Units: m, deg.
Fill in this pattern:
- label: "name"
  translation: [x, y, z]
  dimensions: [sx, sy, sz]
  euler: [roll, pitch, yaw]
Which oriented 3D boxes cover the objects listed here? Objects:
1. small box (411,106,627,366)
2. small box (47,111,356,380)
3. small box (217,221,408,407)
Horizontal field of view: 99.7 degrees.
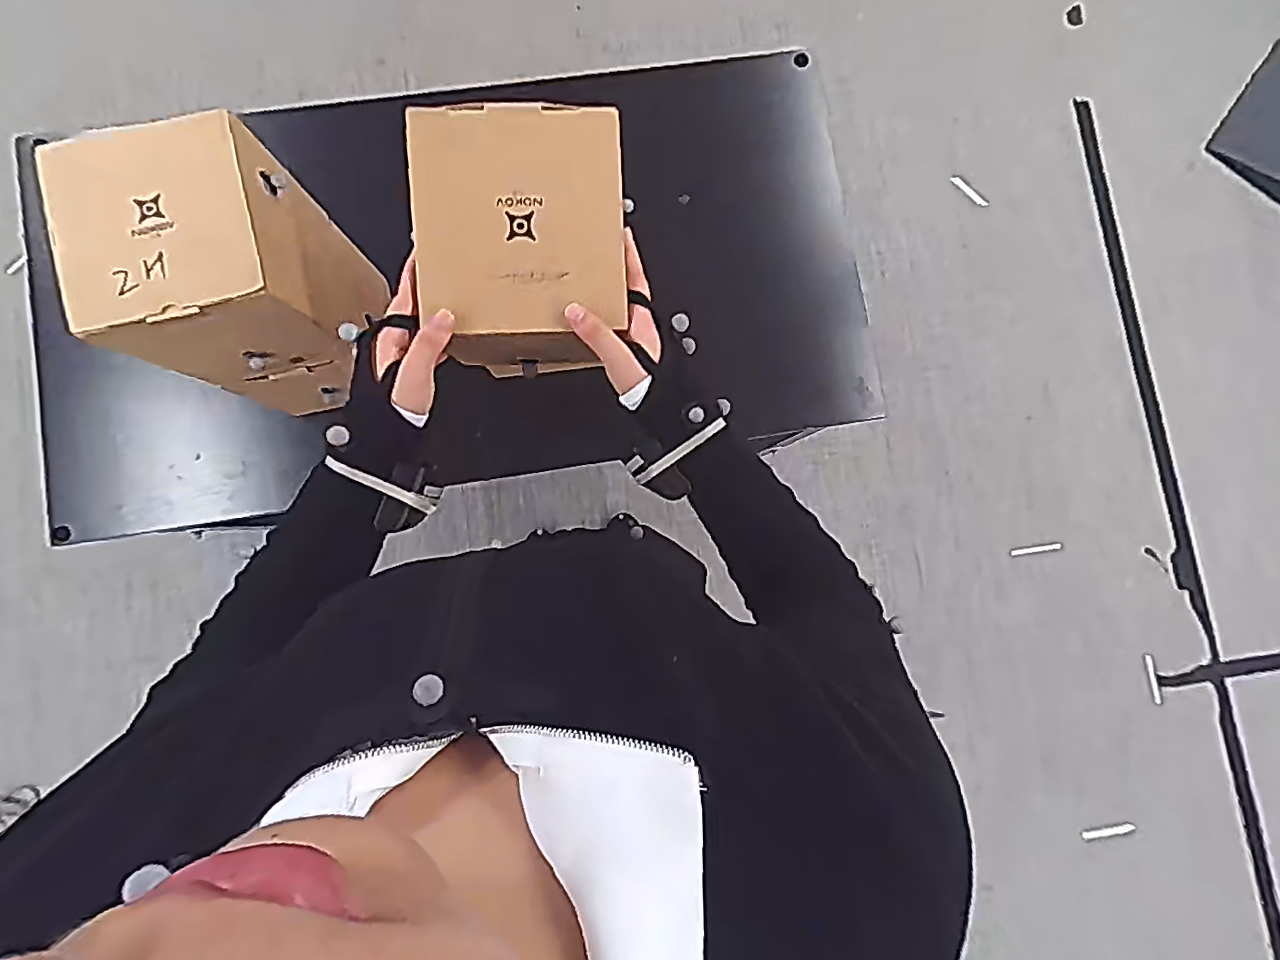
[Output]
- label: "small box"
  translation: [-0.101, -0.210, 0.508]
  dimensions: [0.168, 0.176, 0.179]
  euler: [-3, 93, -4]
- label: "small box"
  translation: [-0.422, -0.221, 0.551]
  dimensions: [0.168, 0.176, 0.179]
  euler: [-15, 86, -3]
- label: "small box"
  translation: [-0.429, -0.202, 0.715]
  dimensions: [0.168, 0.176, 0.179]
  euler: [-13, 86, -3]
